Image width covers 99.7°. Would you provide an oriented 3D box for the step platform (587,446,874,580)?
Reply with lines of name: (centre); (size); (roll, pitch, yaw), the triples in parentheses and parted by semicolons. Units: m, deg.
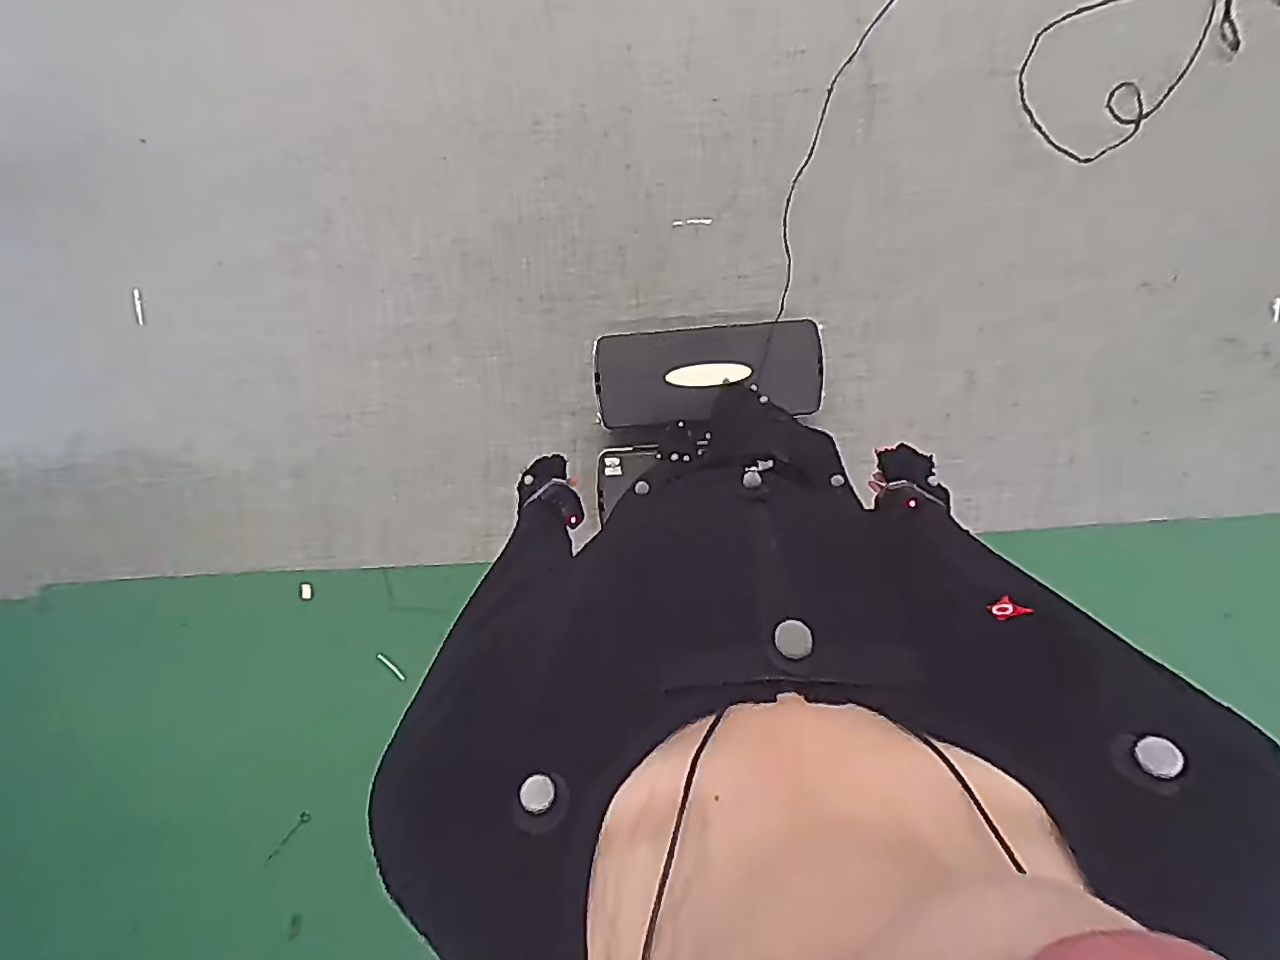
step platform: (0.215, 0.077, 1.384); (0.684, 0.204, 0.286); (-4, 95, 1)
